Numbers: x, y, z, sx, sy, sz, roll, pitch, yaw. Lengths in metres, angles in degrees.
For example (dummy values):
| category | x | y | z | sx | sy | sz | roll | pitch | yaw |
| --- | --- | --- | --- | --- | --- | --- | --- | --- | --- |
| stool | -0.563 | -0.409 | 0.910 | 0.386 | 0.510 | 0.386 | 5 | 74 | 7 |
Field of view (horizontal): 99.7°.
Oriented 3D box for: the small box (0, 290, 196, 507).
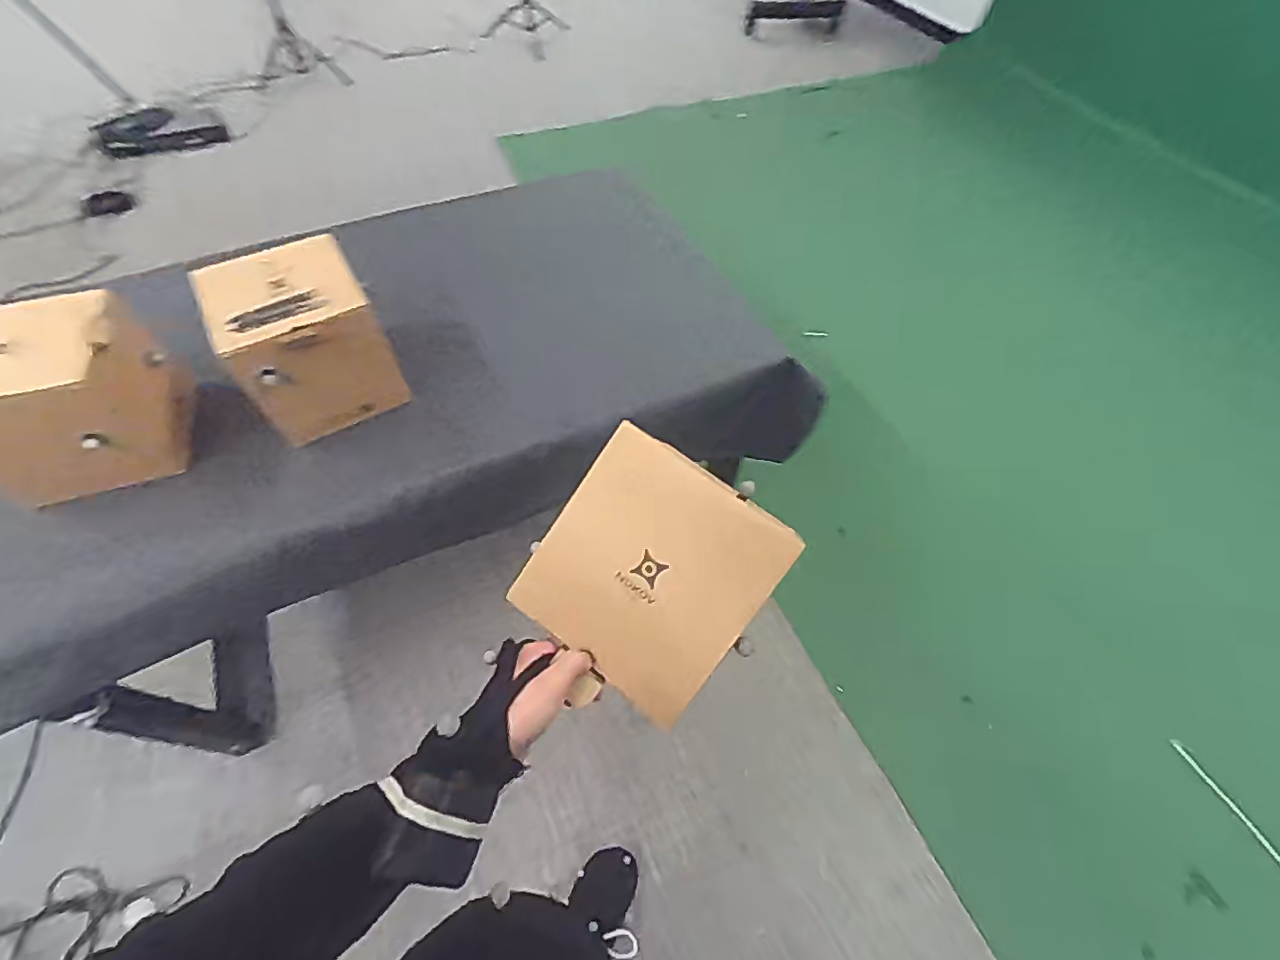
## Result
| category | x | y | z | sx | sy | sz | roll | pitch | yaw |
| --- | --- | --- | --- | --- | --- | --- | --- | --- | --- |
| small box | -0.681 | -0.093 | 0.648 | 0.179 | 0.176 | 0.168 | -17 | 57 | -12 |

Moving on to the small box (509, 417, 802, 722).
| category | x | y | z | sx | sy | sz | roll | pitch | yaw |
| --- | --- | --- | --- | --- | --- | --- | --- | --- | --- |
| small box | 0.022 | 0.068 | 0.488 | 0.168 | 0.176 | 0.179 | 35 | 96 | 12 |
